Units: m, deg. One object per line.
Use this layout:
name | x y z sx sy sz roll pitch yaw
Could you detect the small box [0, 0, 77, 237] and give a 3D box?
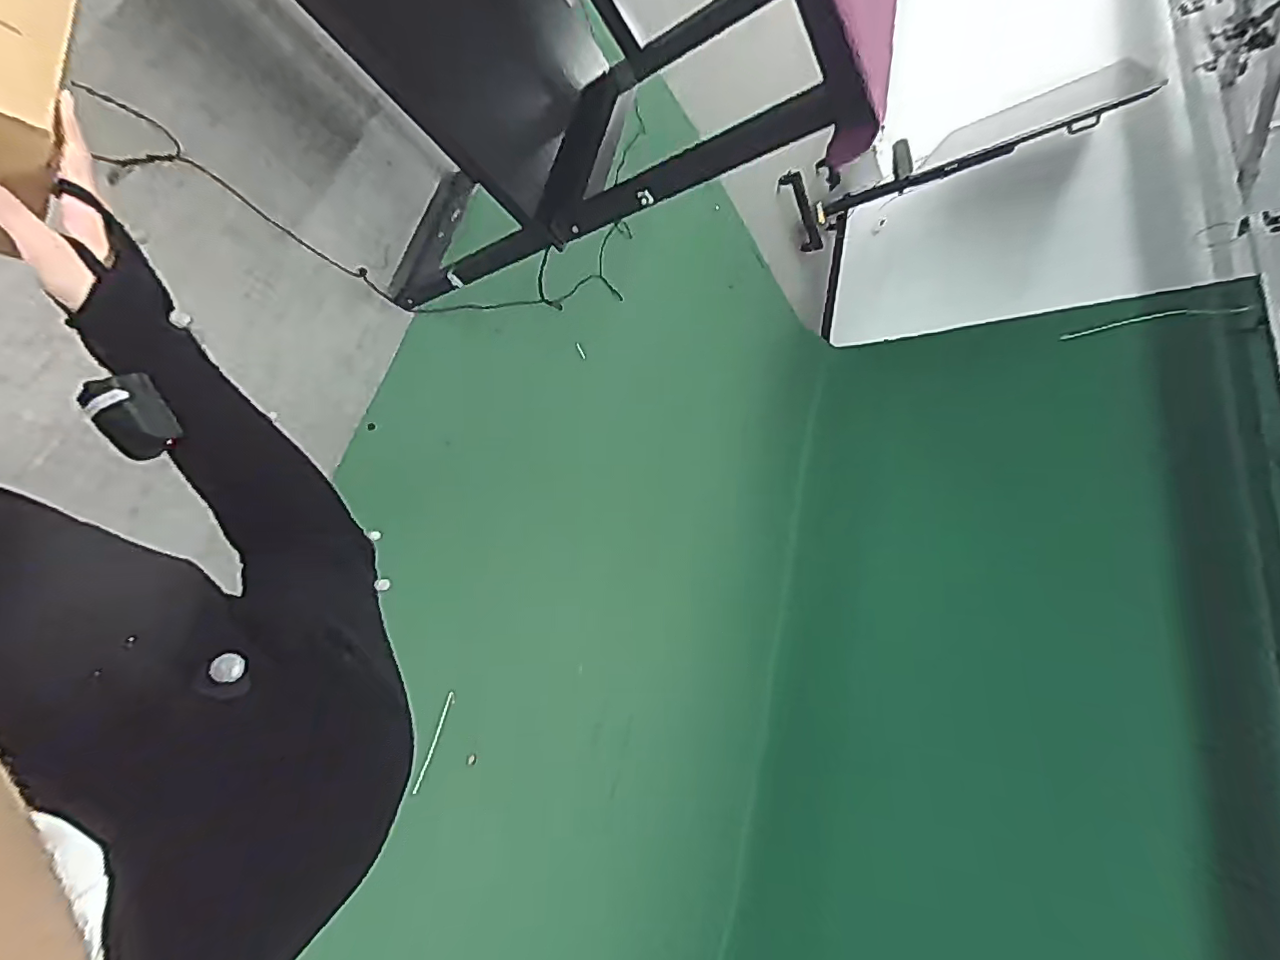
small box | -0.549 -0.315 0.392 0.179 0.176 0.168 10 64 -48
